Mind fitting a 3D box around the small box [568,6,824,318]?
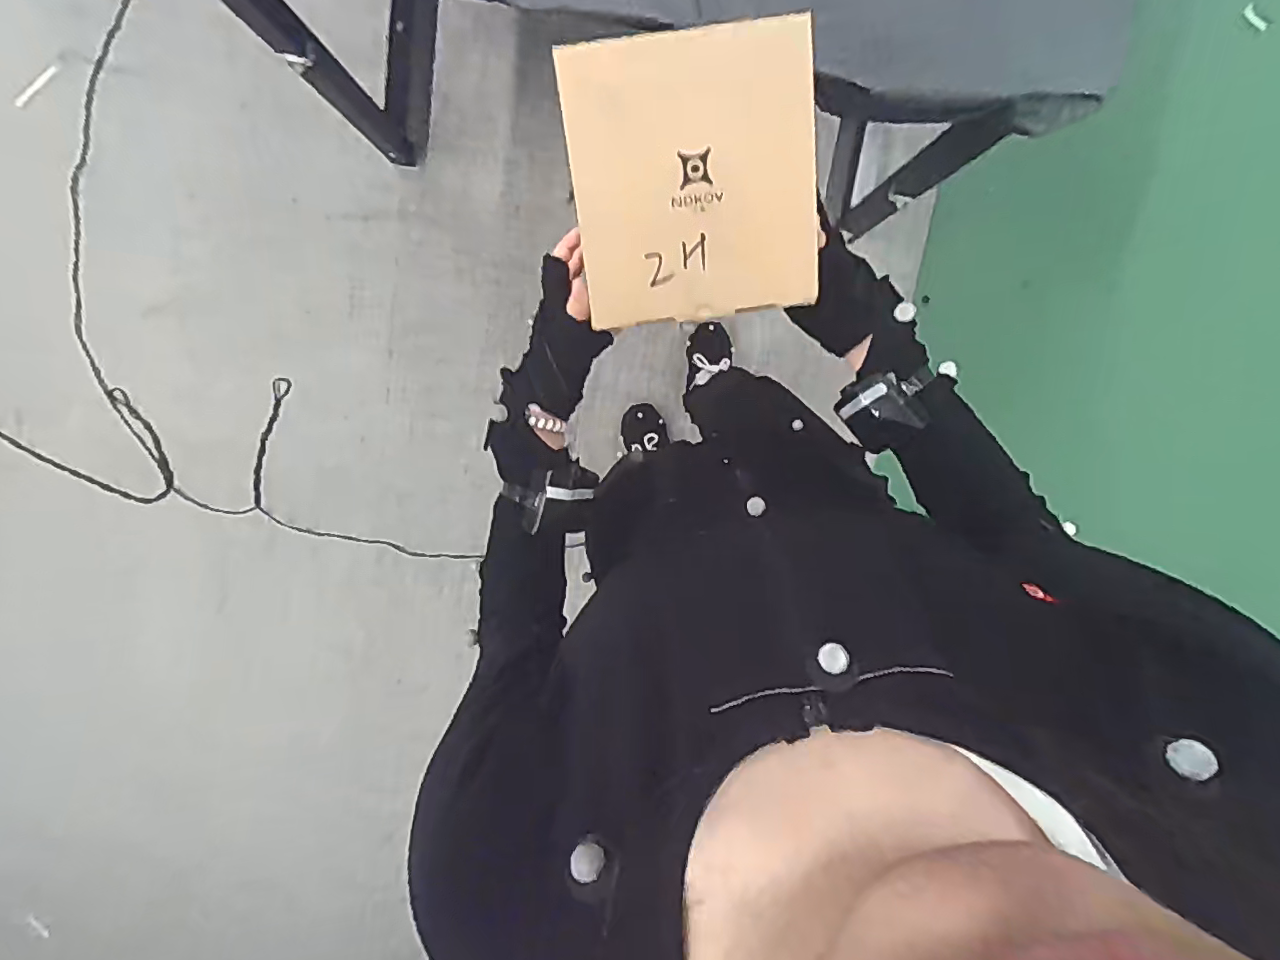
[{"bbox_3d":[0.038,-0.230,0.439,0.168,0.176,0.179,-7,107,0],"label":"small box"}]
